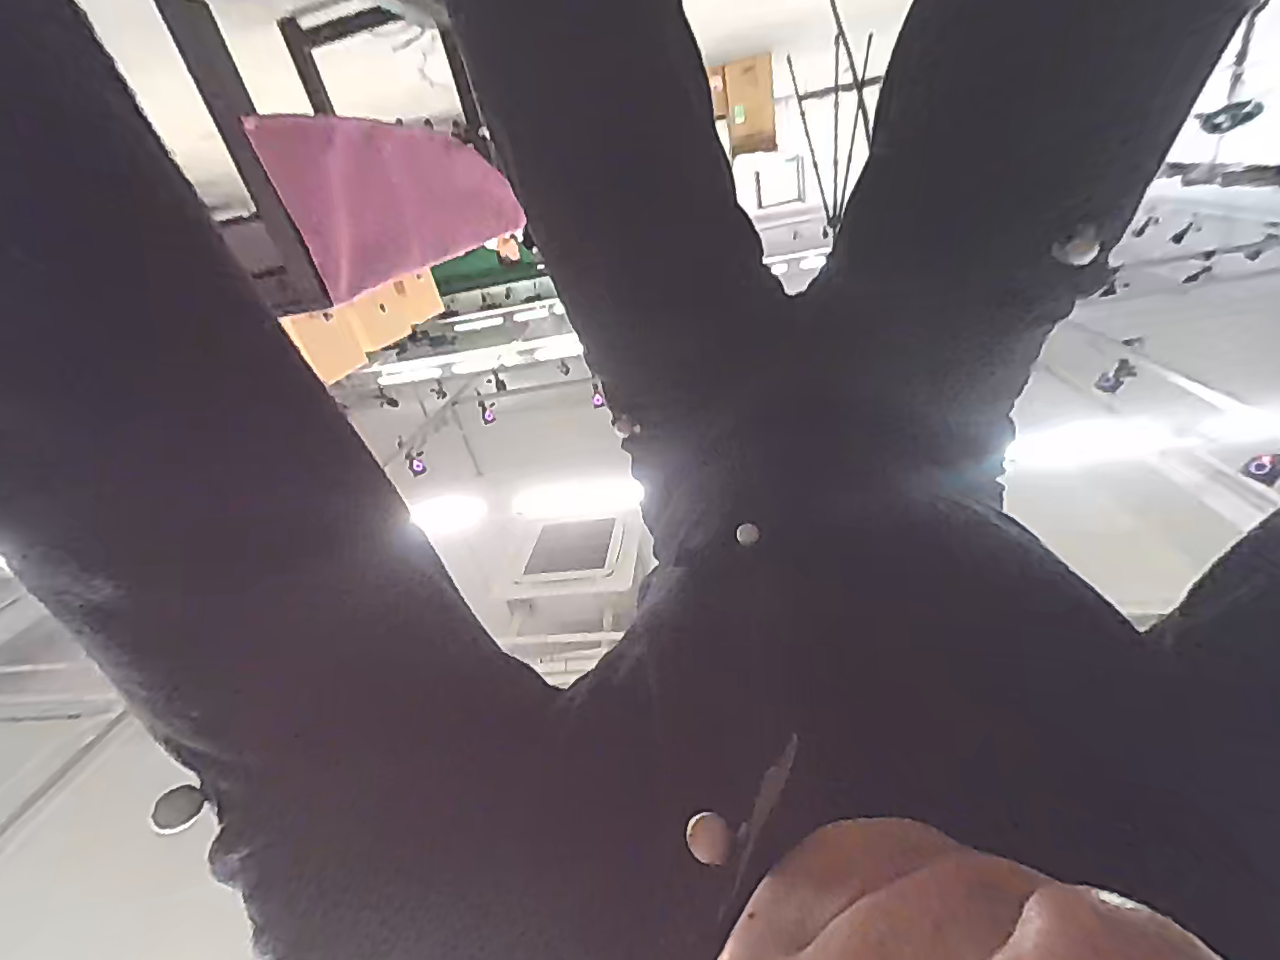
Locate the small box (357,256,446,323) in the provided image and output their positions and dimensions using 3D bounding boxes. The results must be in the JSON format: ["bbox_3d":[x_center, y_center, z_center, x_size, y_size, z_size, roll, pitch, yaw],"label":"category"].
[{"bbox_3d":[-0.738,-0.582,1.666,0.179,0.176,0.168,-6,-149,15],"label":"small box"}]

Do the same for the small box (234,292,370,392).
[{"bbox_3d":[-0.758,-0.313,1.214,0.179,0.176,0.168,-5,-148,14],"label":"small box"}]

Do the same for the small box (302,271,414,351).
[{"bbox_3d":[-0.753,-0.452,1.448,0.179,0.176,0.168,-2,-149,19],"label":"small box"}]
